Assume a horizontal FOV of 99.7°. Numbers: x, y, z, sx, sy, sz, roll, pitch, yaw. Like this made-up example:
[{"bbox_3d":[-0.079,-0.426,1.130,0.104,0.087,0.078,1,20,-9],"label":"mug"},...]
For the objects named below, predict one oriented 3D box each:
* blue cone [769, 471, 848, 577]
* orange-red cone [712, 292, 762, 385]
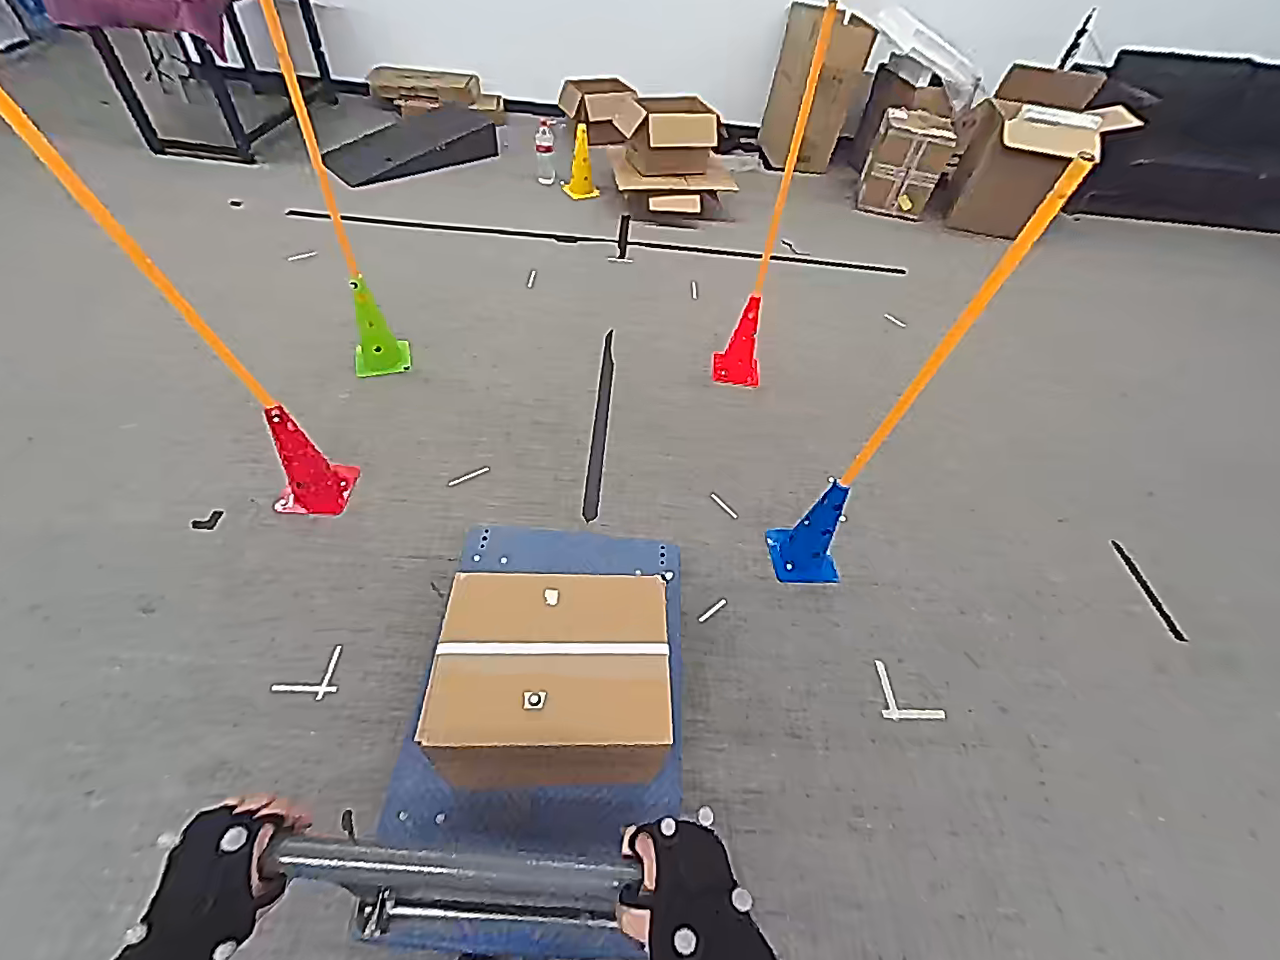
[{"bbox_3d":[0.532,0.119,1.601,0.193,0.380,0.192,2,49,-6],"label":"blue cone"},{"bbox_3d":[0.428,-0.588,2.167,0.199,0.360,0.198,10,50,0],"label":"orange-red cone"}]
